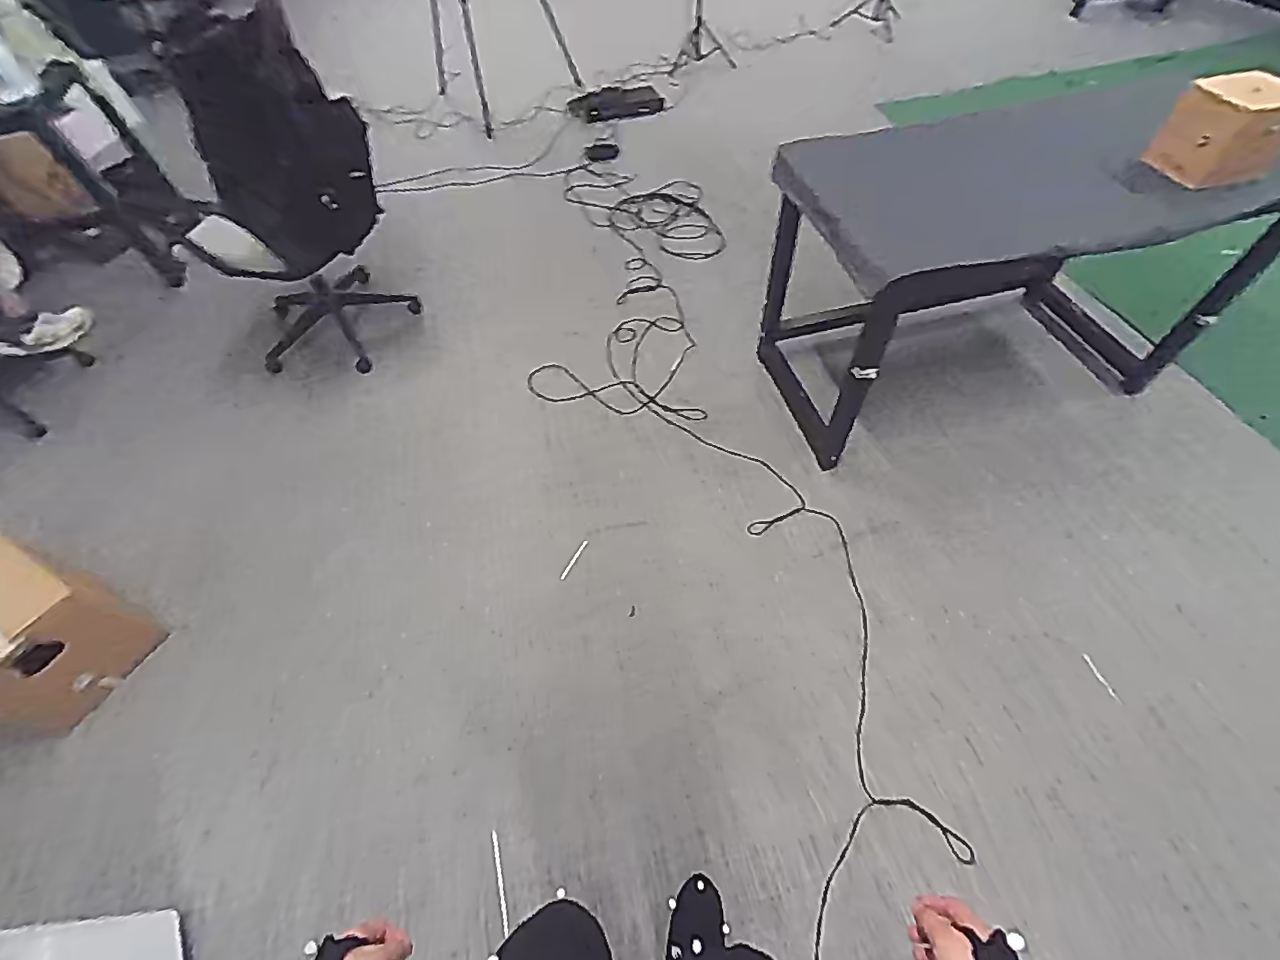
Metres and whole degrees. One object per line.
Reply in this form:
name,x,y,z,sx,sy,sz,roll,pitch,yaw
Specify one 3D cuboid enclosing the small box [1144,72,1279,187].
small box,1.318,-0.795,1.233,0.179,0.176,0.168,-11,55,-4
